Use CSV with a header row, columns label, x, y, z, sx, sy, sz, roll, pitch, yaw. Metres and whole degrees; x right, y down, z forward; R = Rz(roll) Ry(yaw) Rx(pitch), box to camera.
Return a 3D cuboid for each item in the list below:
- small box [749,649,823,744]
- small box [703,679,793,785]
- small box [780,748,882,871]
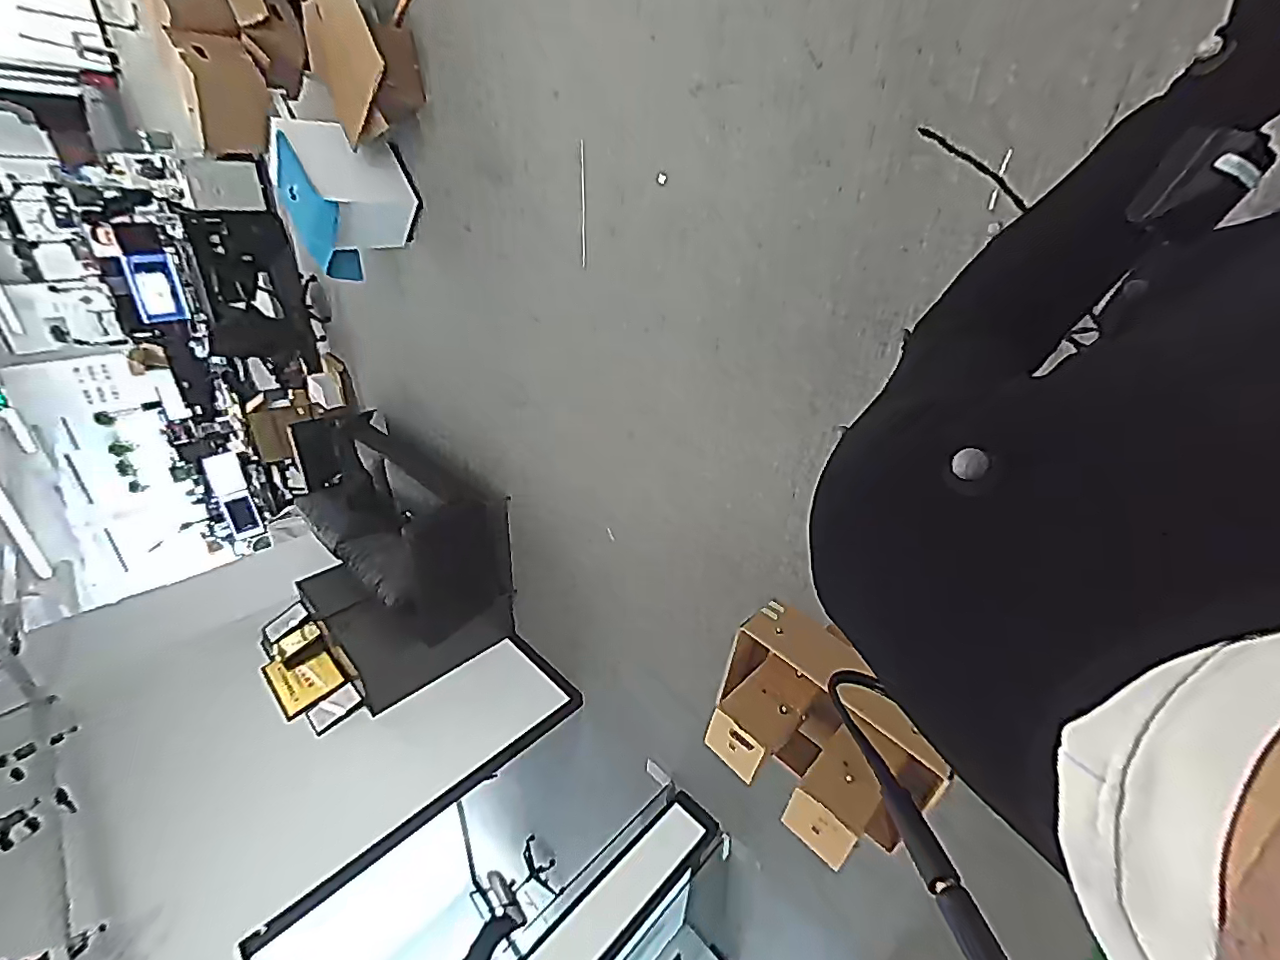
label,x,y,z,sx,sy,sz,roll,pitch,yaw
small box,0.425,0.649,1.627,0.168,0.176,0.179,34,130,33
small box,0.308,0.700,1.523,0.168,0.176,0.179,34,131,33
small box,0.490,0.836,1.384,0.168,0.176,0.179,32,130,34
